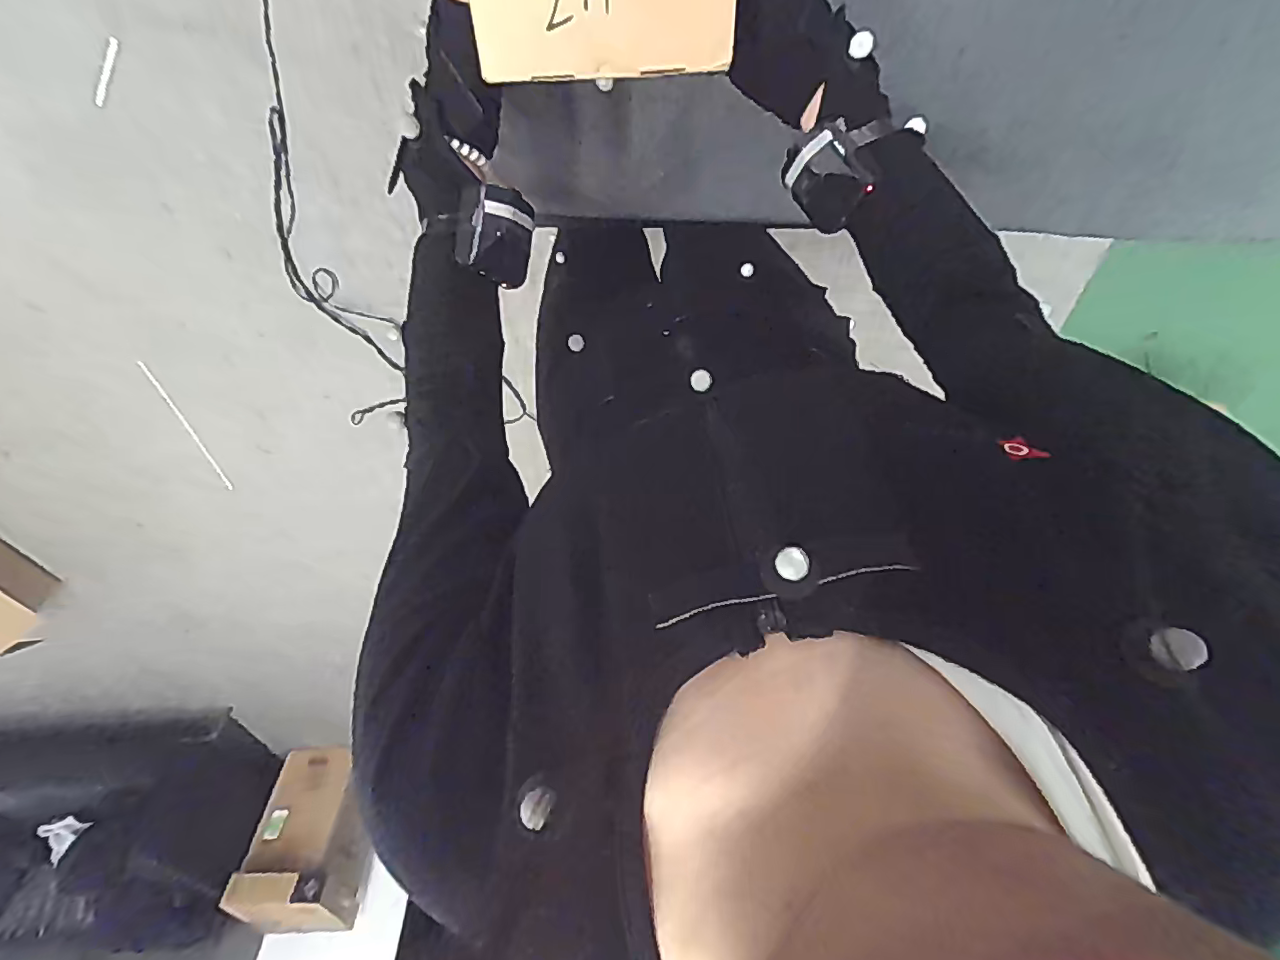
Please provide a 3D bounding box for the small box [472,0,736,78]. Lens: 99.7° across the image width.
[{"bbox_3d":[-0.028,-0.383,0.361,0.168,0.176,0.179,-4,130,-1],"label":"small box"}]
